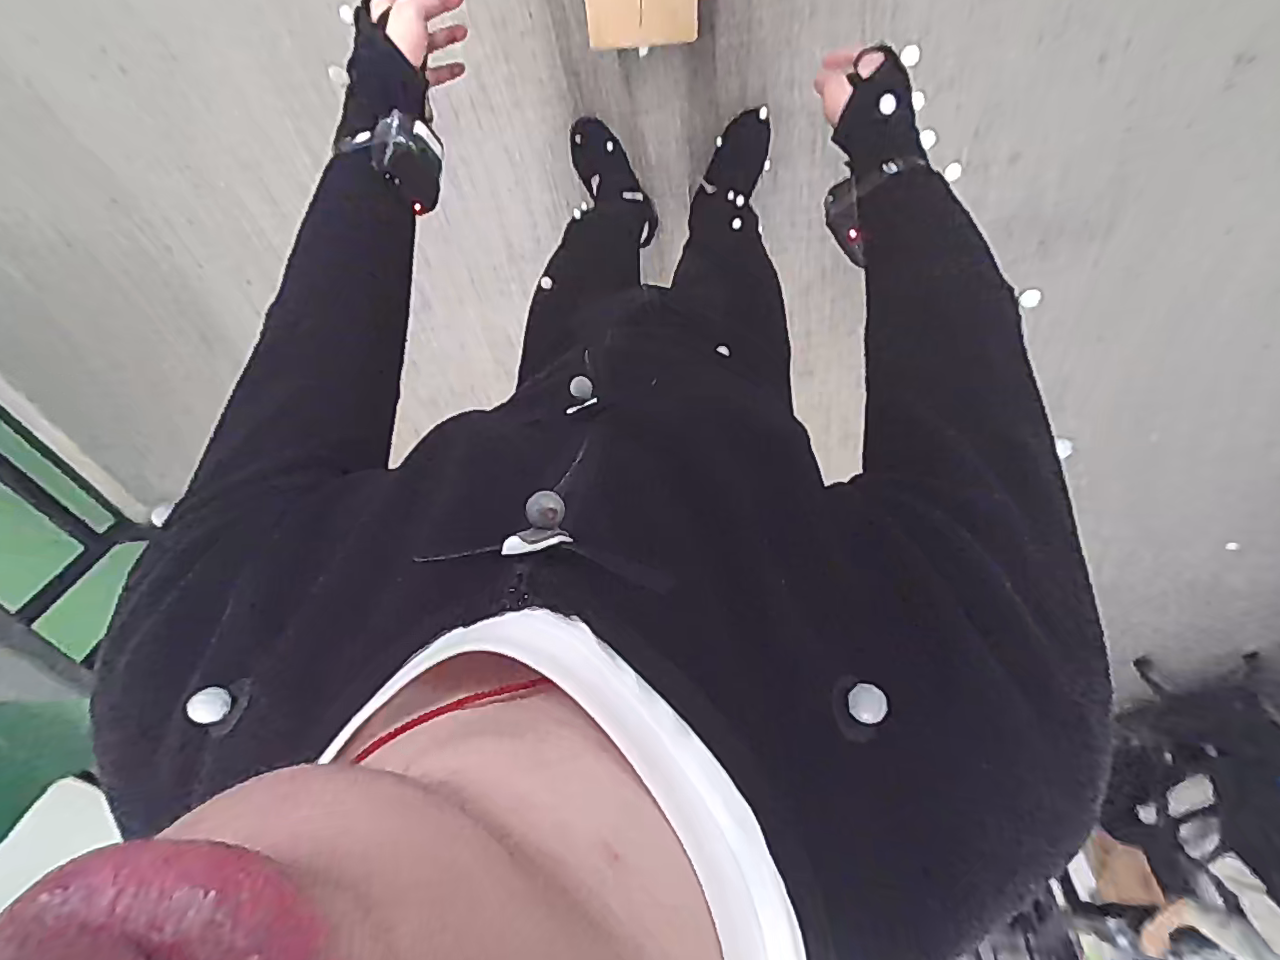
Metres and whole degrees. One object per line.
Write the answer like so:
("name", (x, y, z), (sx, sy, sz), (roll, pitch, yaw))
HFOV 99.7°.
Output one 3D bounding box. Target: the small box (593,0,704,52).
("small box", (0.016, -0.776, 0.830), (0.168, 0.176, 0.179), (1, 131, 6))
